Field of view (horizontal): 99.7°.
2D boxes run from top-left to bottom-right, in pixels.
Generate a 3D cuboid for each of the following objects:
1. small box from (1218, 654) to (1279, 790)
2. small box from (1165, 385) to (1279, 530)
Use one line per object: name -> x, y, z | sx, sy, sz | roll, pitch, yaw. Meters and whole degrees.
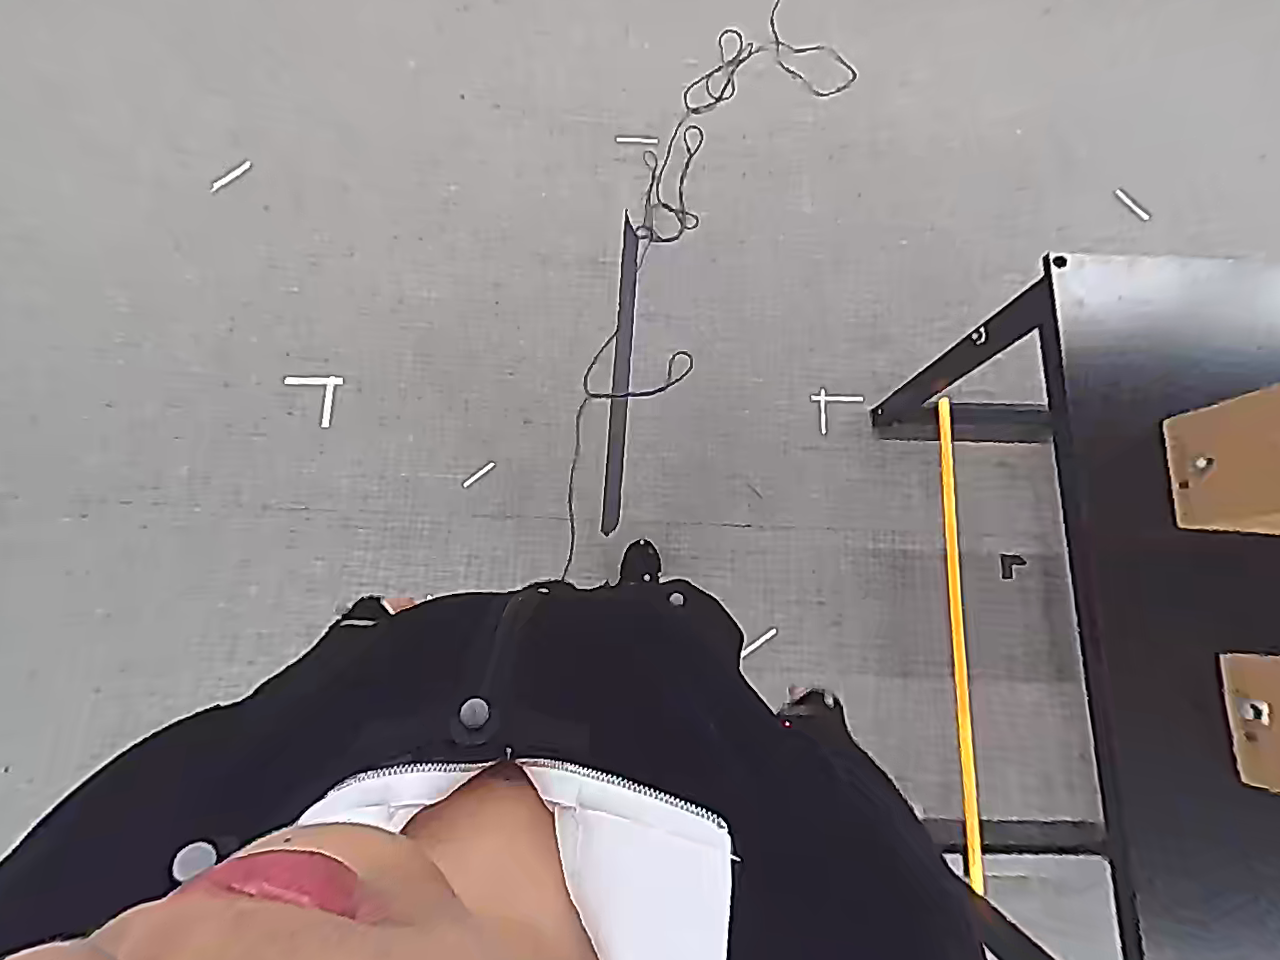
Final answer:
small box -> 0.889, 0.306, 0.660 | 0.179, 0.176, 0.168 | 1, 77, 1
small box -> 0.878, -0.026, 0.727 | 0.179, 0.176, 0.168 | 4, 78, 1
